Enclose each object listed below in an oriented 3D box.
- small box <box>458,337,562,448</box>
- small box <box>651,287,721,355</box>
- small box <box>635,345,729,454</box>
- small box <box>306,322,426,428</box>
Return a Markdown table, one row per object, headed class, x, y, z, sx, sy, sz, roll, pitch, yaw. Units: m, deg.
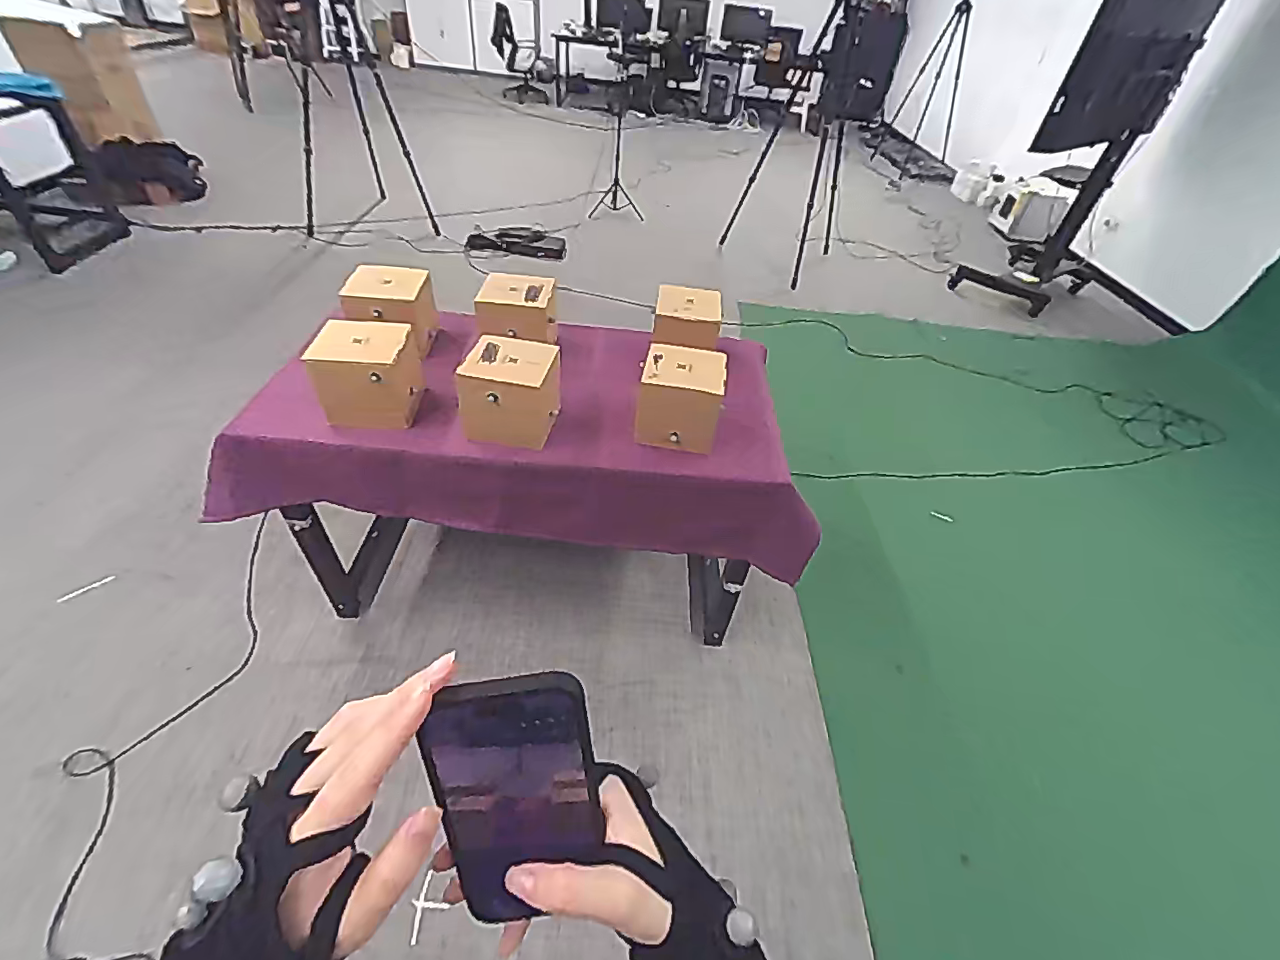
| class | x | y | z | sx | sy | sz | roll | pitch | yaw |
| --- | --- | --- | --- | --- | --- | --- | --- | --- | --- |
| small box | -0.274 | -0.189 | 1.184 | 0.179 | 0.176 | 0.168 | 10 | 44 | 1 |
| small box | 0.122 | -0.393 | 1.450 | 0.168 | 0.176 | 0.179 | 7 | 44 | 1 |
| small box | 0.094 | -0.178 | 1.223 | 0.179 | 0.176 | 0.168 | 10 | 43 | 3 |
| small box | -0.586 | -0.227 | 1.182 | 0.179 | 0.176 | 0.168 | 2 | 43 | -7 |
